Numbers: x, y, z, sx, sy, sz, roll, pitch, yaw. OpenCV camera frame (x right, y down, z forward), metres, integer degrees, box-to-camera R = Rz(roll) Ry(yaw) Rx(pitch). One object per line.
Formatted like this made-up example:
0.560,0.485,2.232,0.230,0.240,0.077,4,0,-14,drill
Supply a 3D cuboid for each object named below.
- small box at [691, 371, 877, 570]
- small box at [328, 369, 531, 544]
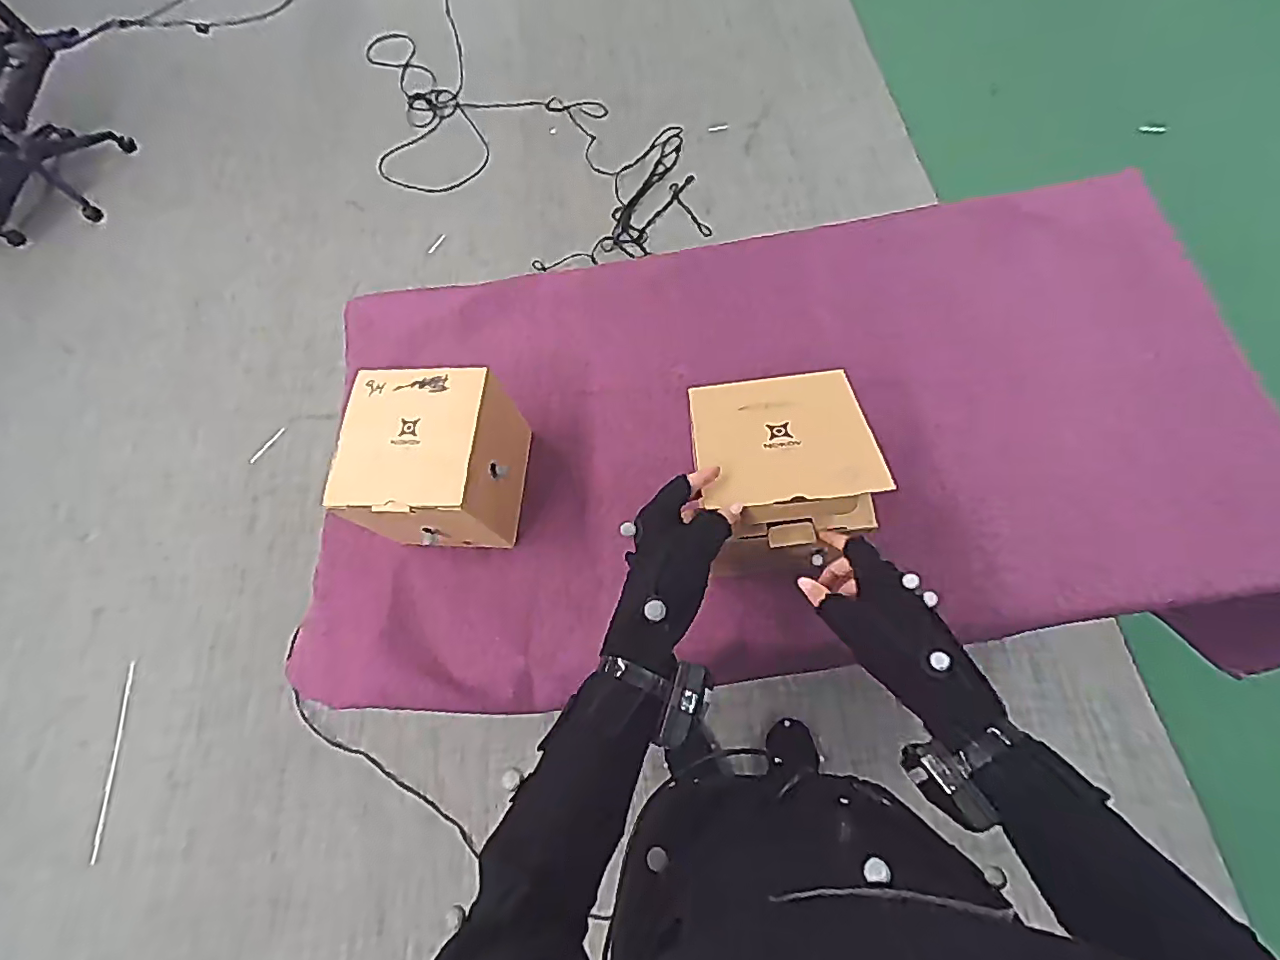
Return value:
0.151,0.002,0.619,0.168,0.176,0.179,-6,68,5,small box
-0.247,-0.021,0.684,0.168,0.176,0.179,1,70,8,small box
